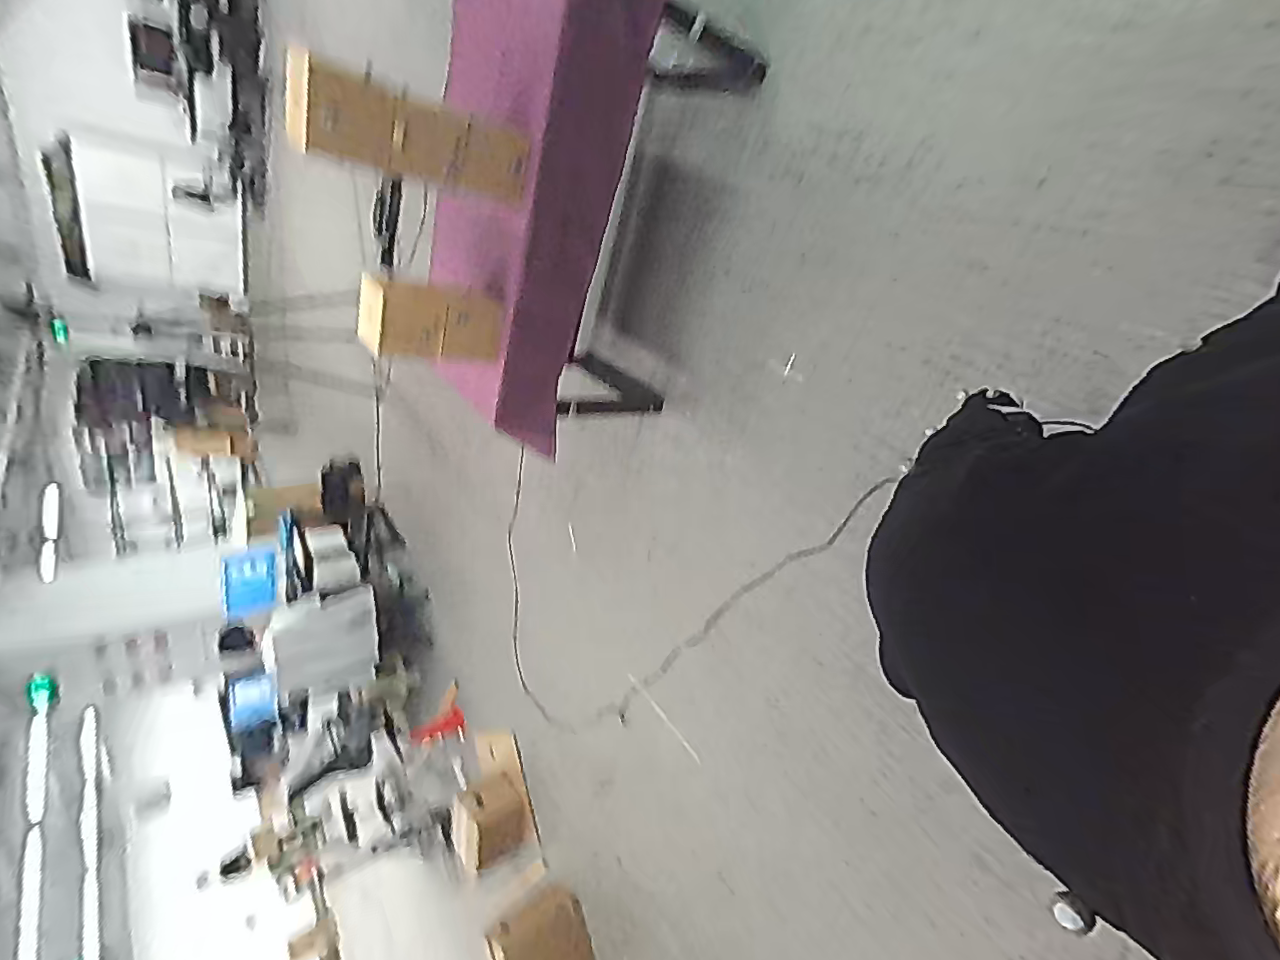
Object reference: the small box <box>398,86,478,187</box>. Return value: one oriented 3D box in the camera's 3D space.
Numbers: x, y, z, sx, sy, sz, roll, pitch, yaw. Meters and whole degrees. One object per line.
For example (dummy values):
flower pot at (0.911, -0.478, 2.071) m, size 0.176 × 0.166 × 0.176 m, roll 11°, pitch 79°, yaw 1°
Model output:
small box at (-0.505, -0.824, 1.294) m, size 0.179 × 0.176 × 0.168 m, roll 45°, pitch 126°, yaw 36°

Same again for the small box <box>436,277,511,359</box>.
small box at (-0.494, -0.468, 1.576) m, size 0.168 × 0.176 × 0.179 m, roll 43°, pitch 124°, yaw 37°

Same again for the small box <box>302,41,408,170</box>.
small box at (-0.622, -0.808, 1.181) m, size 0.168 × 0.176 × 0.179 m, roll 45°, pitch 126°, yaw 33°

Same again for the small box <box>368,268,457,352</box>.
small box at (-0.622, -0.458, 1.475) m, size 0.179 × 0.176 × 0.168 m, roll 42°, pitch 124°, yaw 36°
